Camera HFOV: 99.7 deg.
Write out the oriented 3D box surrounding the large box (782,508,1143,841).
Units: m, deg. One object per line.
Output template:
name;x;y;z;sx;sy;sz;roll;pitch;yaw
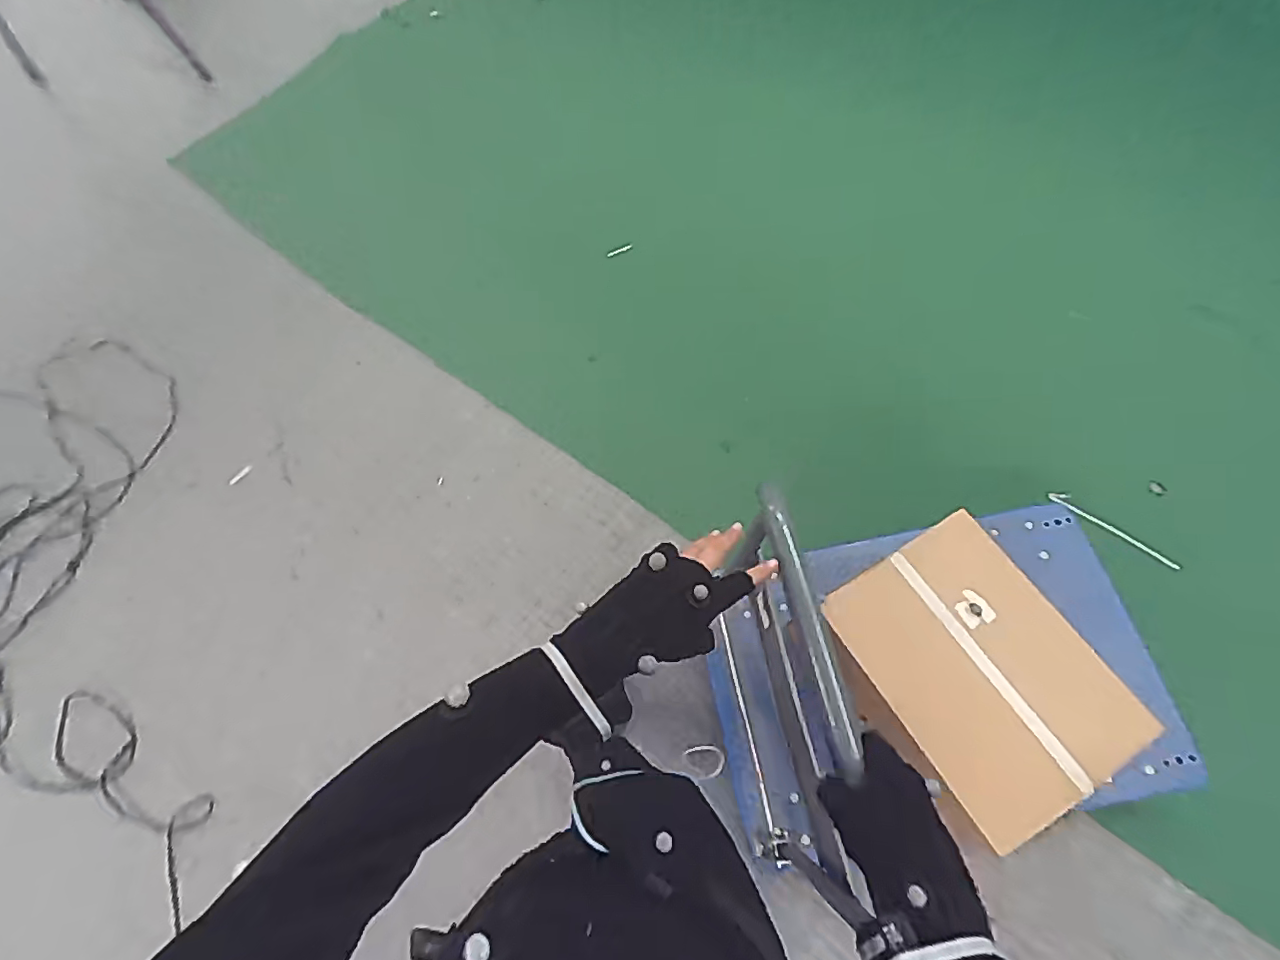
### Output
large box;0.517;0.330;0.973;0.320;0.320;0.408;-30;68;-8
